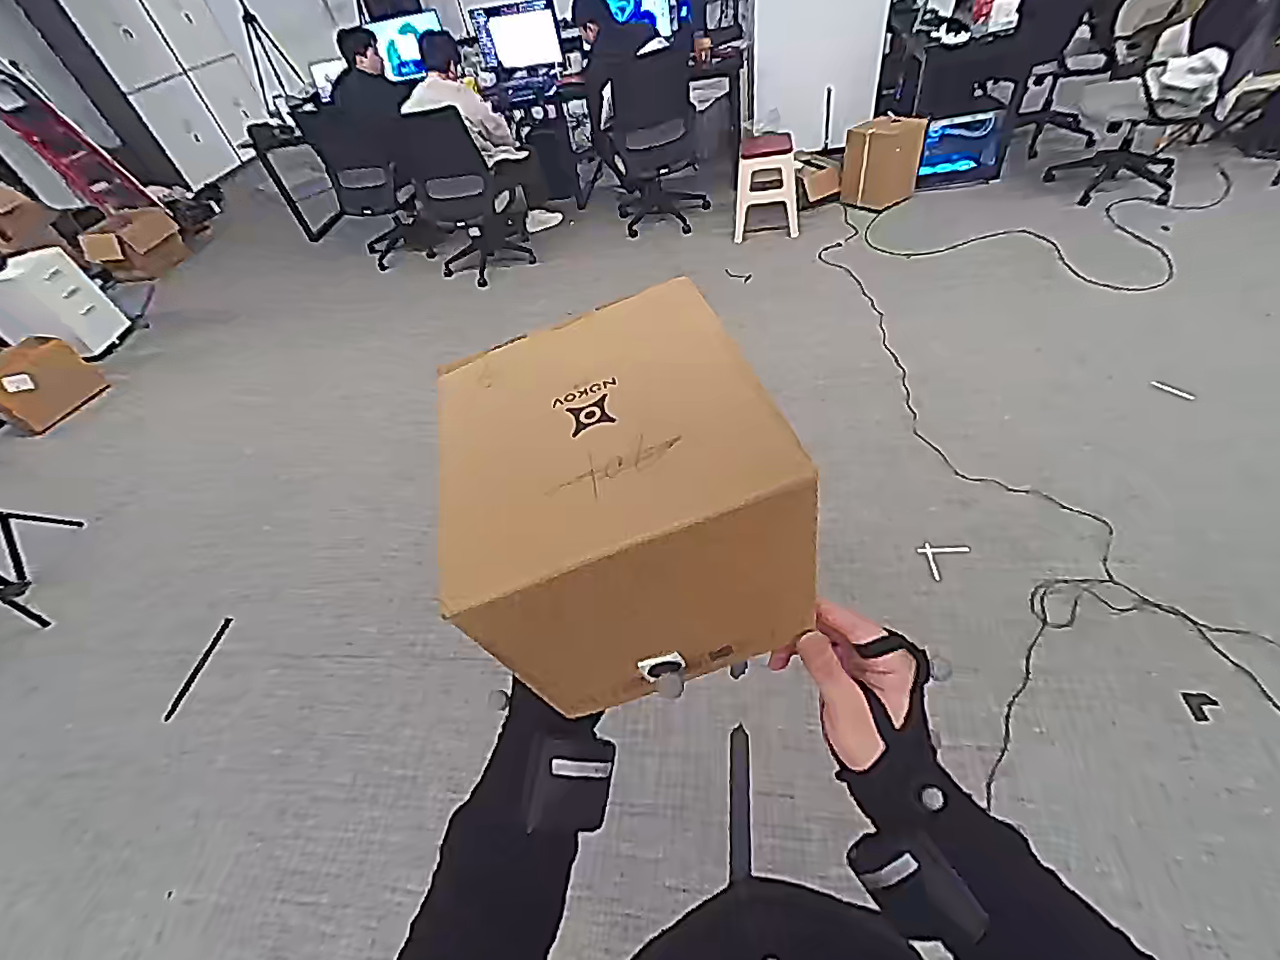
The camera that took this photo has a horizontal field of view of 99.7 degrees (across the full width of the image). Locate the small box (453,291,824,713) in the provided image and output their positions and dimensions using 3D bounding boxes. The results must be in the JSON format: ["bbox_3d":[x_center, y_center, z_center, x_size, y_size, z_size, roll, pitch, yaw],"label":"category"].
[{"bbox_3d":[-0.002,0.018,0.345,0.168,0.176,0.179,-21,50,1],"label":"small box"}]
